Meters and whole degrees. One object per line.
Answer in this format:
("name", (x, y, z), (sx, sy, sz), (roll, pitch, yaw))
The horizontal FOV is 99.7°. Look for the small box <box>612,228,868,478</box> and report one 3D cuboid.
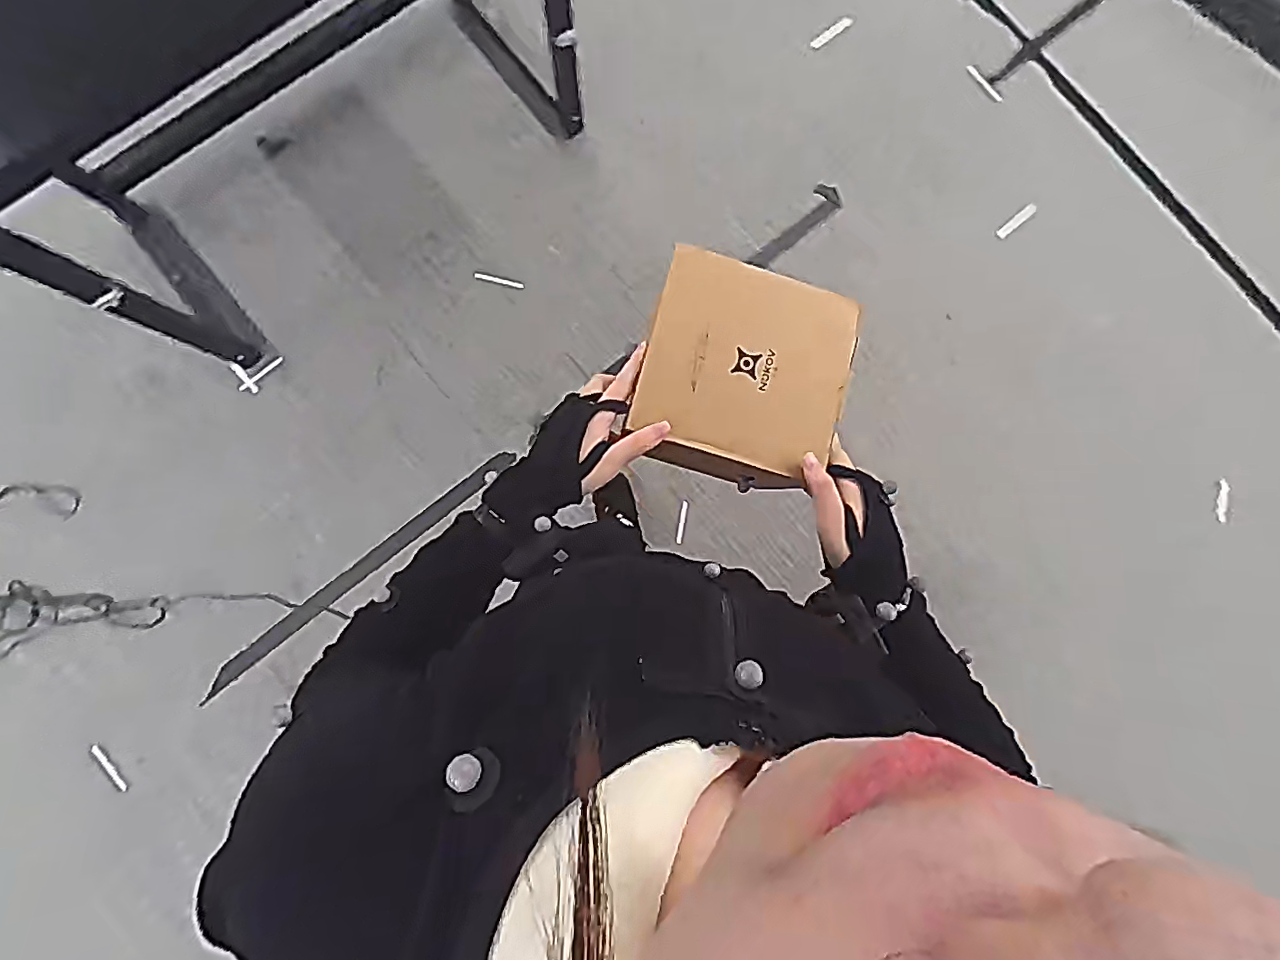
("small box", (0.080, -0.102, 0.522), (0.179, 0.176, 0.168), (16, 86, -6))
